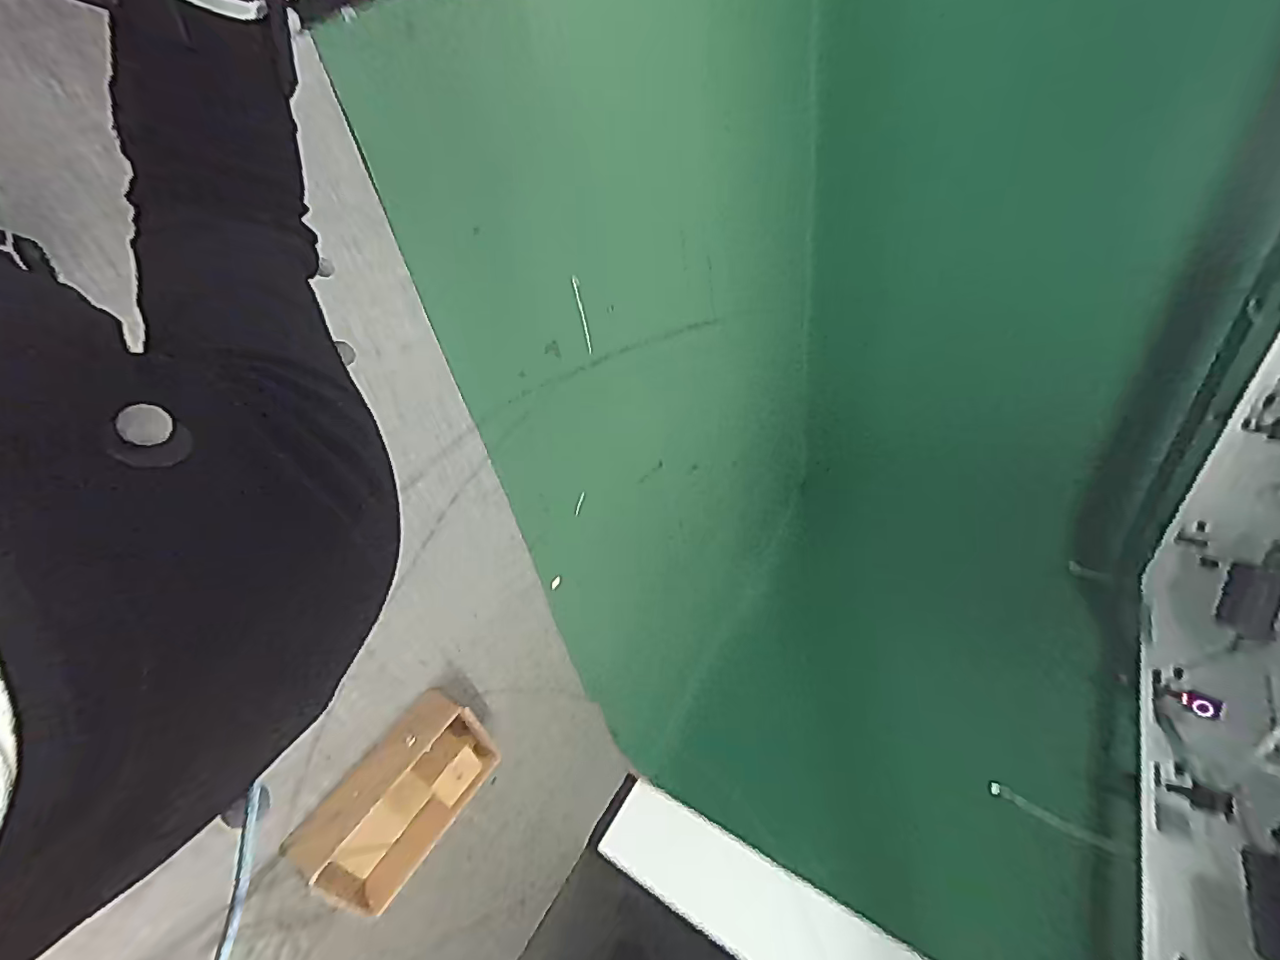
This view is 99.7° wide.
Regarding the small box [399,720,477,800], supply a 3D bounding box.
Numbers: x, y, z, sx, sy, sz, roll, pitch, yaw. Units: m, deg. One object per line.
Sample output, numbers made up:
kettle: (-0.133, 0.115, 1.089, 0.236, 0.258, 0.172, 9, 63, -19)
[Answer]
small box: (-0.729, 1.004, 1.952, 0.168, 0.176, 0.179, -47, 140, -36)
